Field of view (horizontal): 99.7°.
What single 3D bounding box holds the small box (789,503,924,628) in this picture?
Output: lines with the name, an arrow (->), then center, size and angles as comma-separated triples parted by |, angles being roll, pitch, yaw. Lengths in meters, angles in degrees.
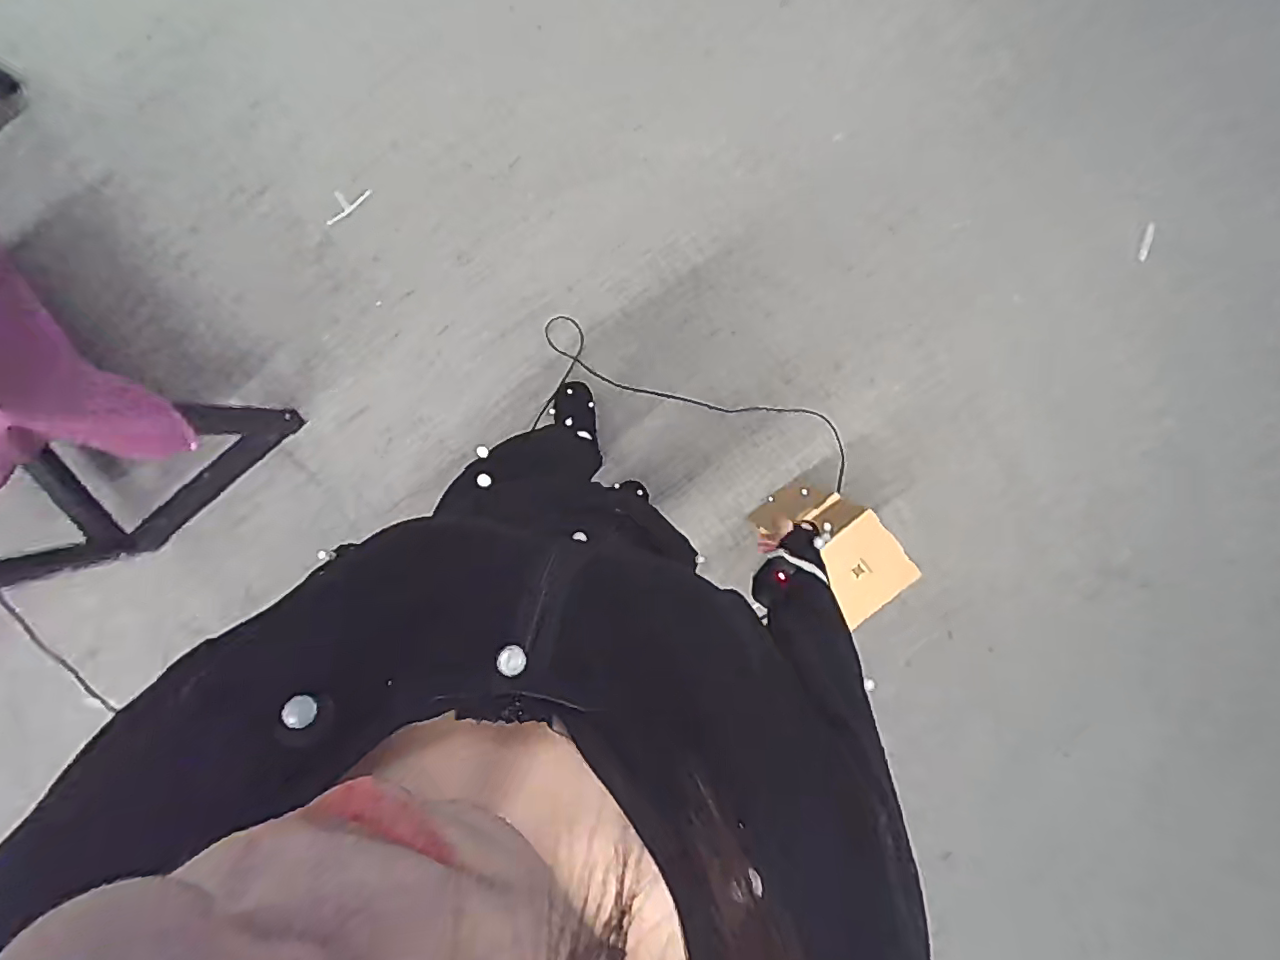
small box -> 0.424, 0.165, 1.101 | 0.179, 0.176, 0.168 | -38, 93, 3

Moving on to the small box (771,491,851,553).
small box -> 0.433, 0.139, 1.262 | 0.168, 0.176, 0.179 | -38, 94, 4
